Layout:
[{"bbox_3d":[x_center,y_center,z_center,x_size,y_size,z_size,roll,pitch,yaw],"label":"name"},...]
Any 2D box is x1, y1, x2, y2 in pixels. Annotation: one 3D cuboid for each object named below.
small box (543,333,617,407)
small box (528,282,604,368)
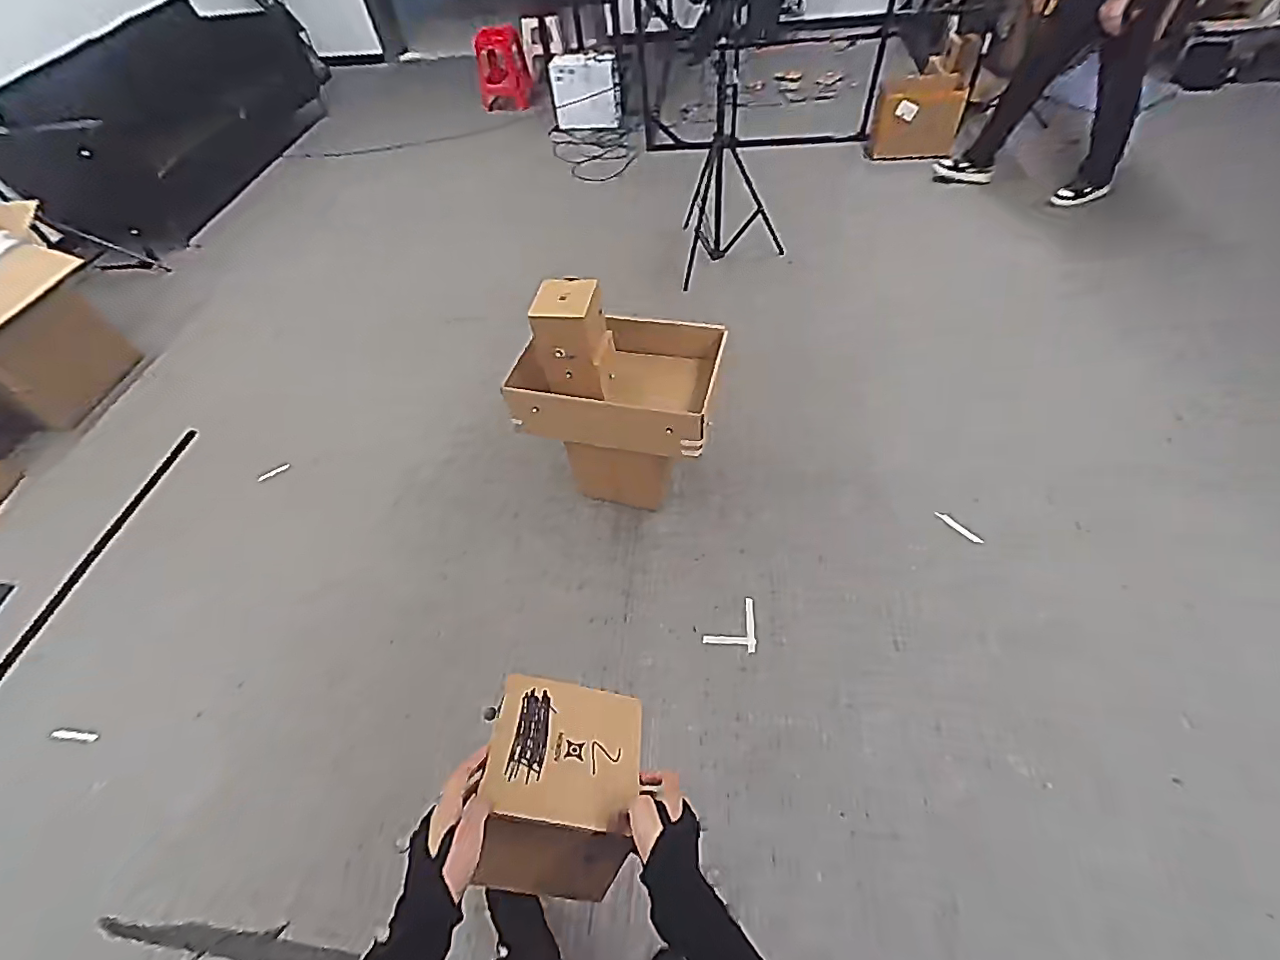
[{"bbox_3d":[-0.182,-0.347,1.691,0.179,0.176,0.168,7,54,11],"label":"small box"},{"bbox_3d":[-0.205,-0.449,1.565,0.168,0.176,0.179,4,52,10],"label":"small box"}]
